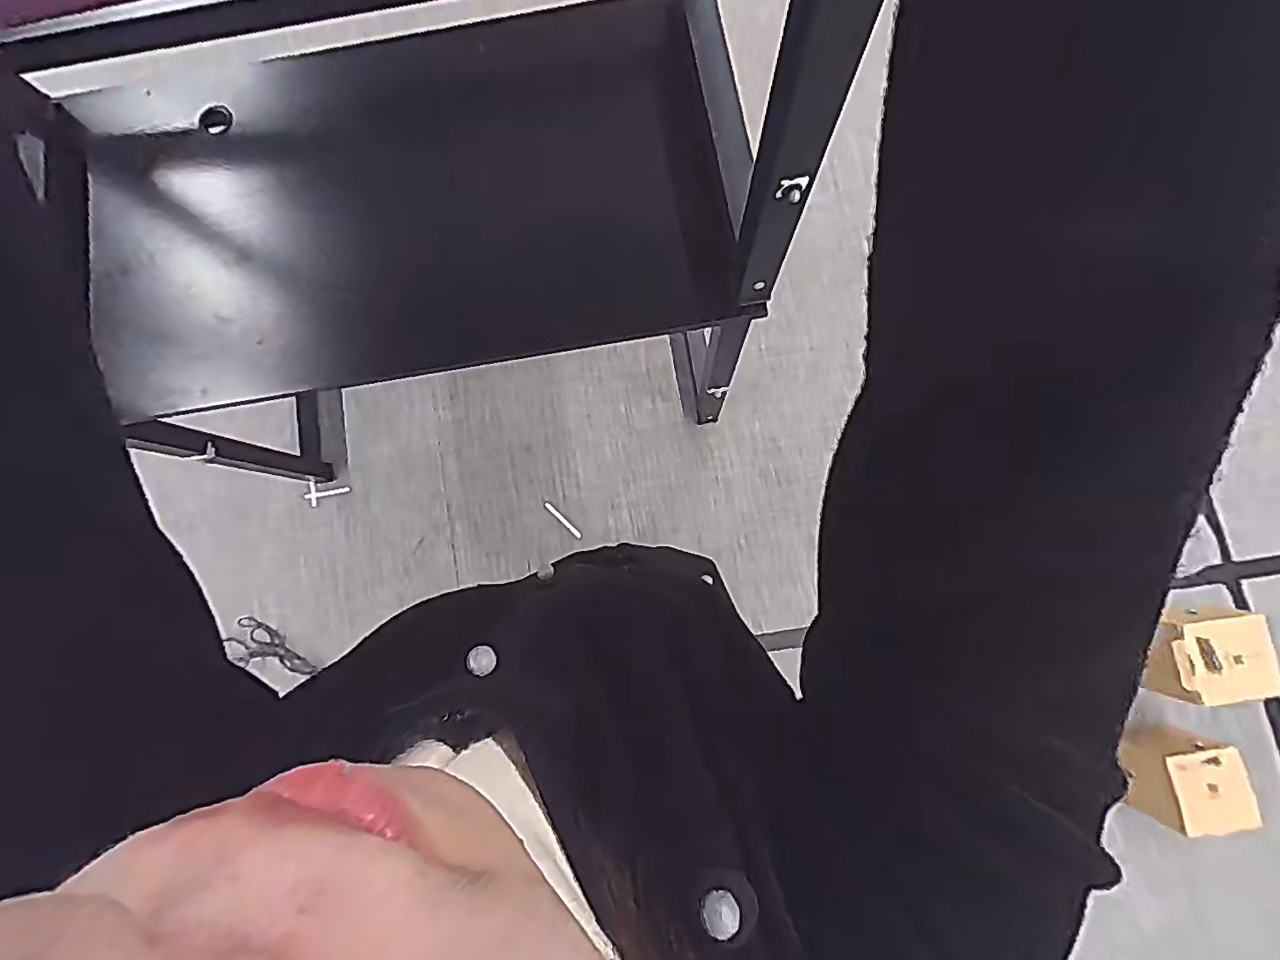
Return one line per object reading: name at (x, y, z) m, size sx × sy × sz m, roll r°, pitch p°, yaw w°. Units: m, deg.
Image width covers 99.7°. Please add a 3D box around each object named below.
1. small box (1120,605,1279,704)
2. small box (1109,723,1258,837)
small box at (1.202, 0.372, 1.177) m, size 0.179 × 0.176 × 0.168 m, roll -8°, pitch 83°, yaw 0°
small box at (1.288, 0.710, 1.295) m, size 0.168 × 0.176 × 0.179 m, roll -10°, pitch 83°, yaw 1°
